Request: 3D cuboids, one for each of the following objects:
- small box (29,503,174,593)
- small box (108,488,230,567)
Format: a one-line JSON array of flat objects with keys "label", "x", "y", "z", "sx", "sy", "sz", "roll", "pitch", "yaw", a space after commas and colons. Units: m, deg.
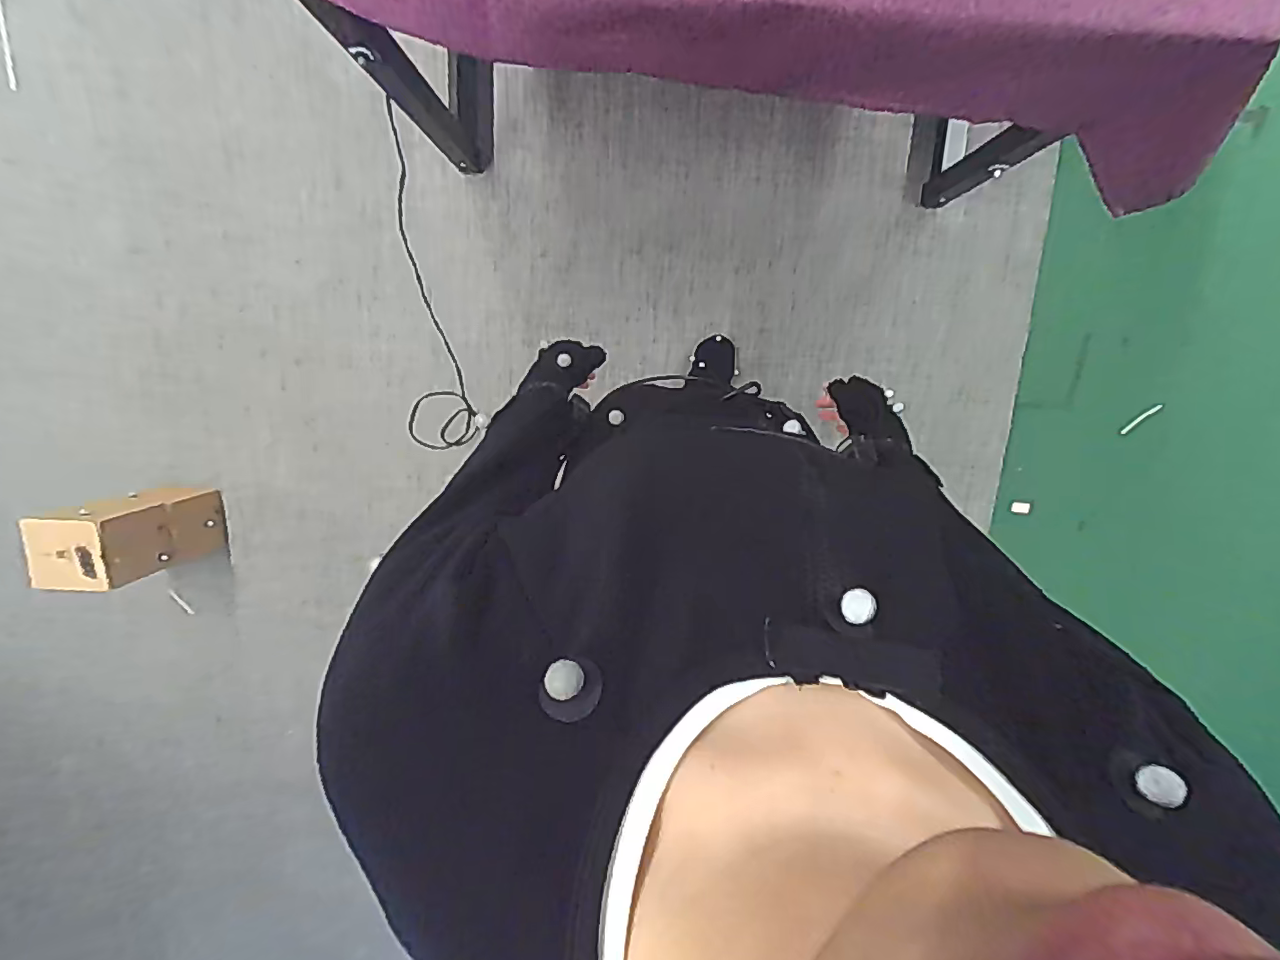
[{"label": "small box", "x": -1.248, "y": 0.154, "z": 1.272, "sx": 0.179, "sy": 0.176, "sz": 0.168, "roll": 2, "pitch": 102, "yaw": 1}, {"label": "small box", "x": -1.239, "y": 0.121, "z": 1.433, "sx": 0.179, "sy": 0.176, "sz": 0.168, "roll": 3, "pitch": 102, "yaw": 0}]
